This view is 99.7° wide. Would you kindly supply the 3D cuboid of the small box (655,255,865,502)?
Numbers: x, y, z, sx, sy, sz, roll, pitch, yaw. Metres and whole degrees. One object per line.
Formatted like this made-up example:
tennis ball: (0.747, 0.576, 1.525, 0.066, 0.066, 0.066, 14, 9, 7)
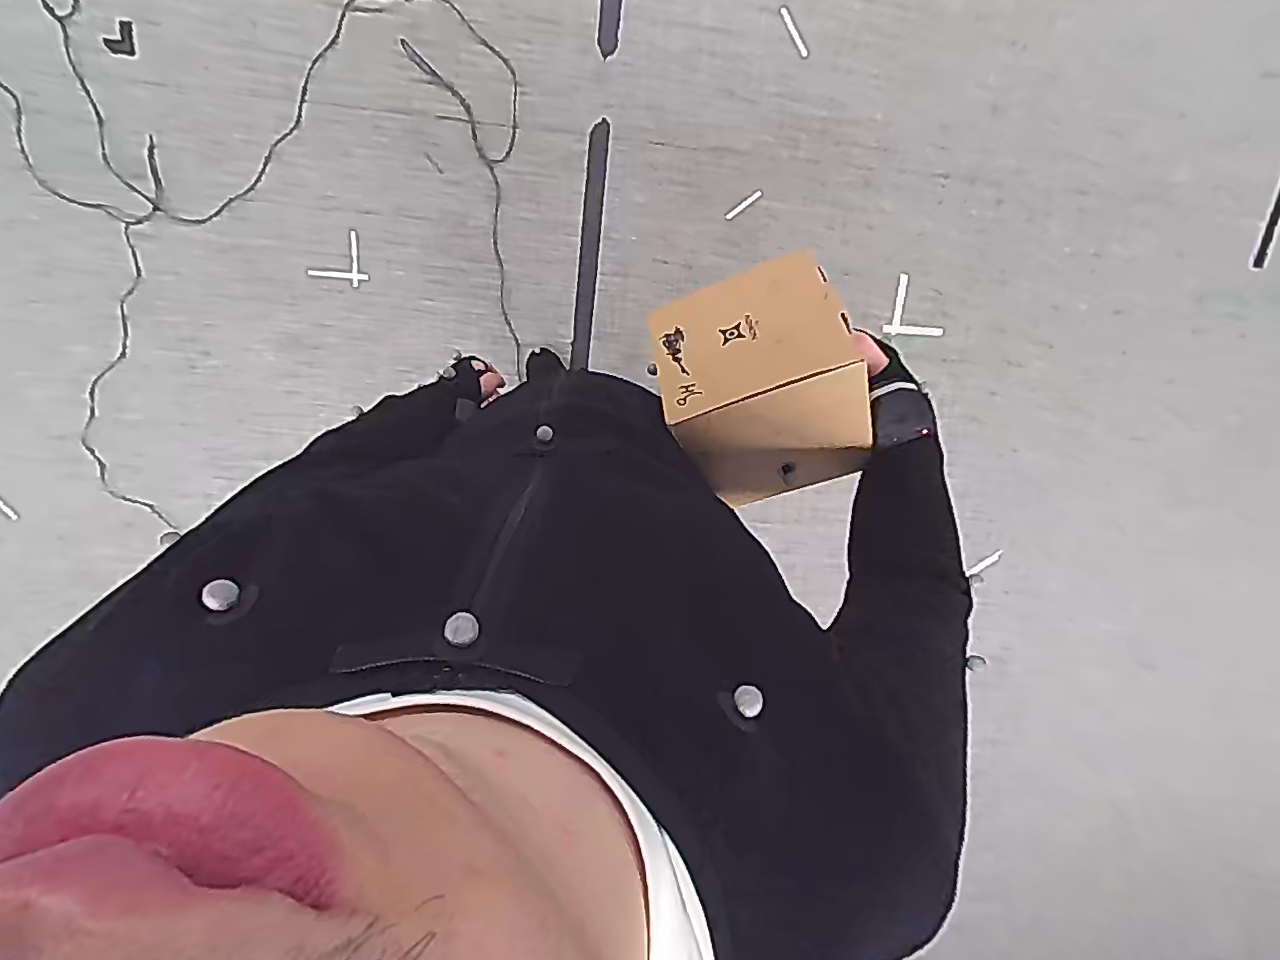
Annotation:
small box: (0.132, -0.100, 0.588, 0.179, 0.168, 0.176, -18, 142, 15)
